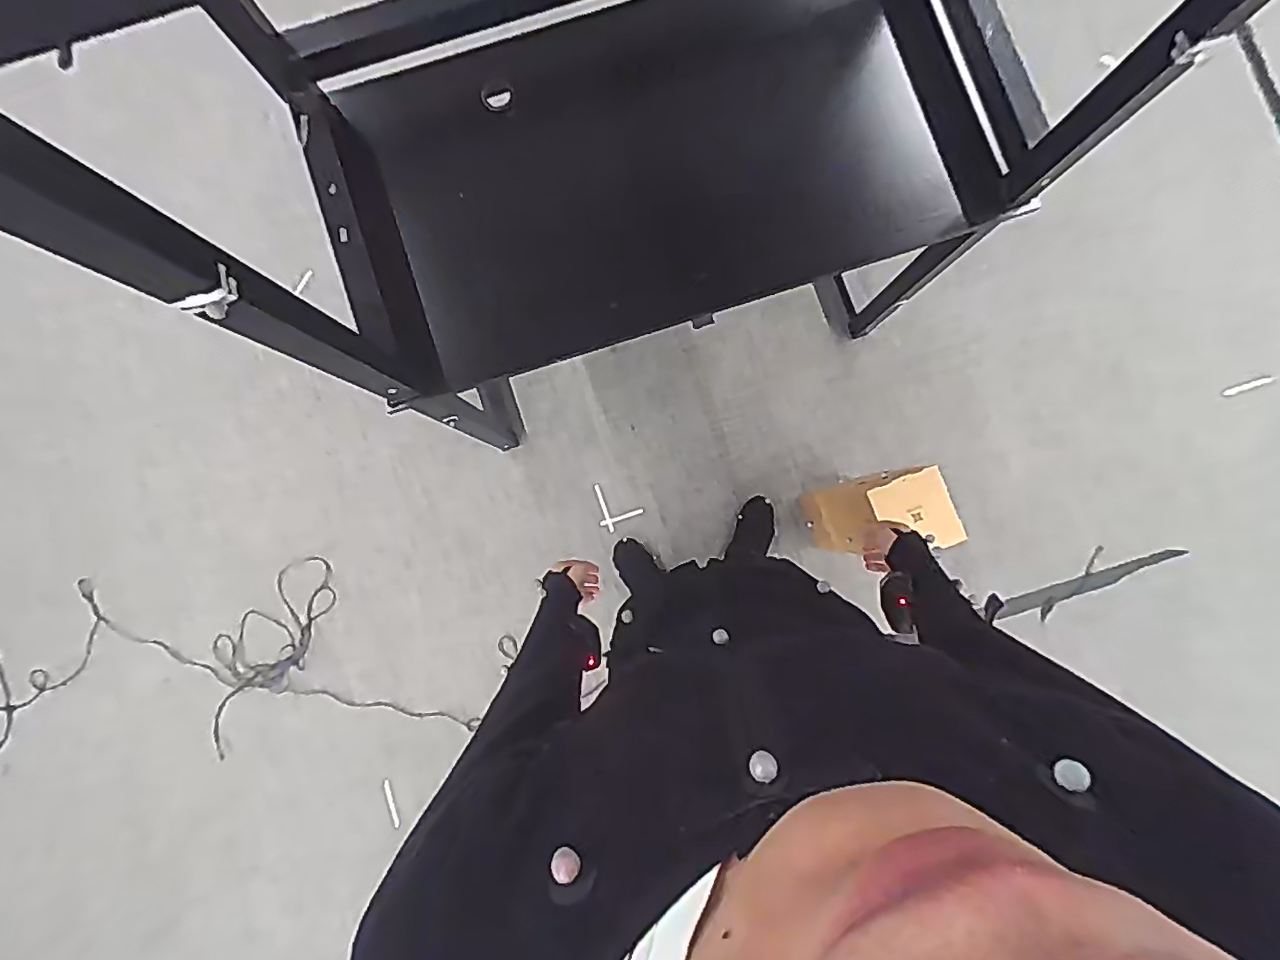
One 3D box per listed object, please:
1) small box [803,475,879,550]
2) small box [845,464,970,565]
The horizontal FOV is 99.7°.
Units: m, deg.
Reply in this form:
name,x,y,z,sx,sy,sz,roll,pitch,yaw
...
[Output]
name,x,y,z,sx,sy,sz,roll,pitch,yaw
small box,0.597,0.093,1.557,0.179,0.176,0.168,-20,86,0
small box,0.597,0.077,1.230,0.168,0.176,0.179,-22,86,0
